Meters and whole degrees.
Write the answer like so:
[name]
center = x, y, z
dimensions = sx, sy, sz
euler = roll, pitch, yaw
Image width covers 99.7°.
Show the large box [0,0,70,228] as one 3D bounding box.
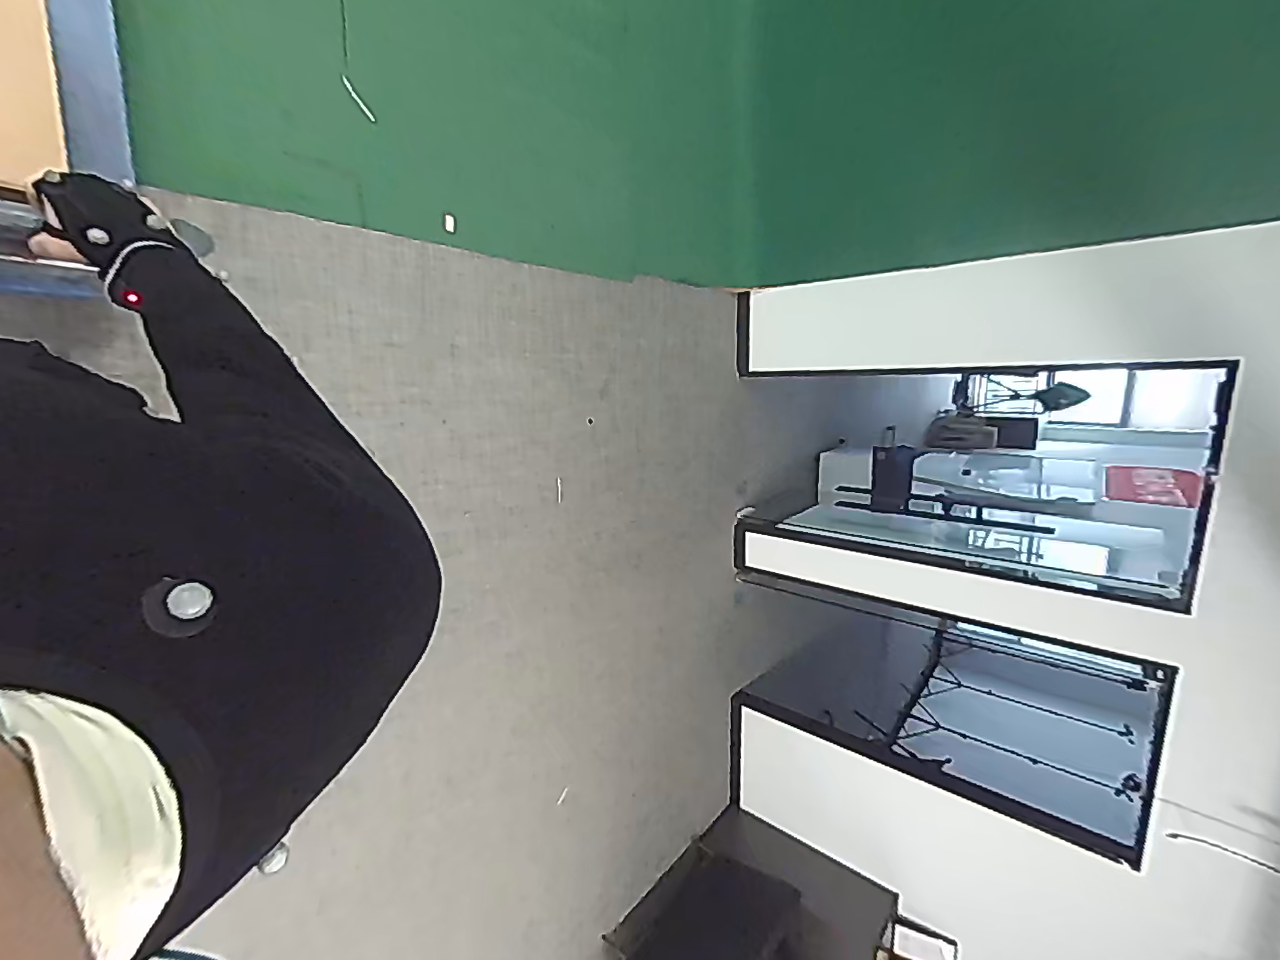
[large box]
center = -1.060, -0.617, 0.753
dimensions = 0.320, 0.320, 0.408
euler = -11, 104, -49
